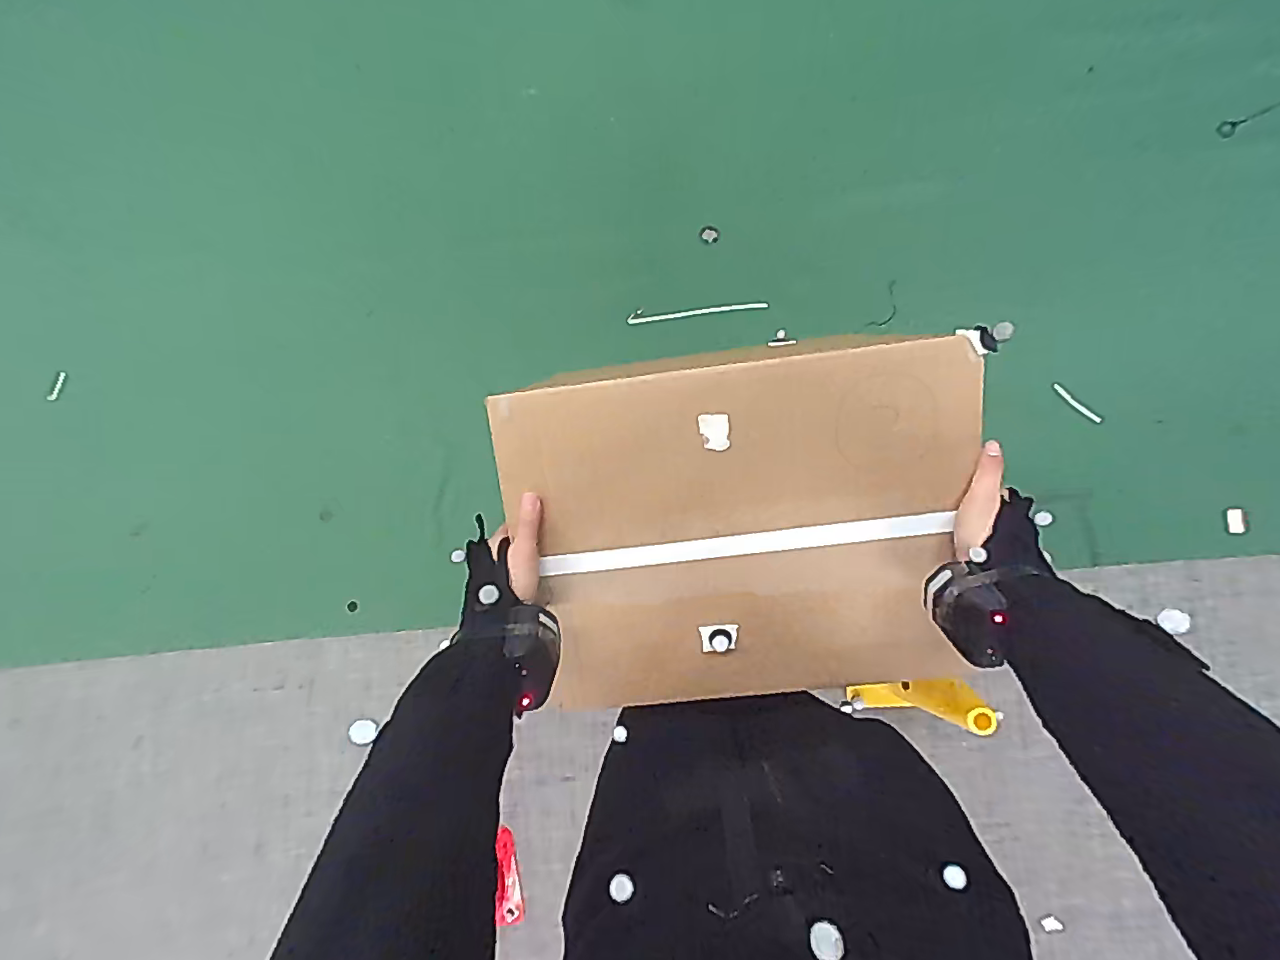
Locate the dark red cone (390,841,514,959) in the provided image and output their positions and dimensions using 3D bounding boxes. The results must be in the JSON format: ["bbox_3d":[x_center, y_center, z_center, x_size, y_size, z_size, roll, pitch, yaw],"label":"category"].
[{"bbox_3d":[-0.388,0.850,0.971,0.202,0.394,0.201,-14,81,5],"label":"dark red cone"}]
